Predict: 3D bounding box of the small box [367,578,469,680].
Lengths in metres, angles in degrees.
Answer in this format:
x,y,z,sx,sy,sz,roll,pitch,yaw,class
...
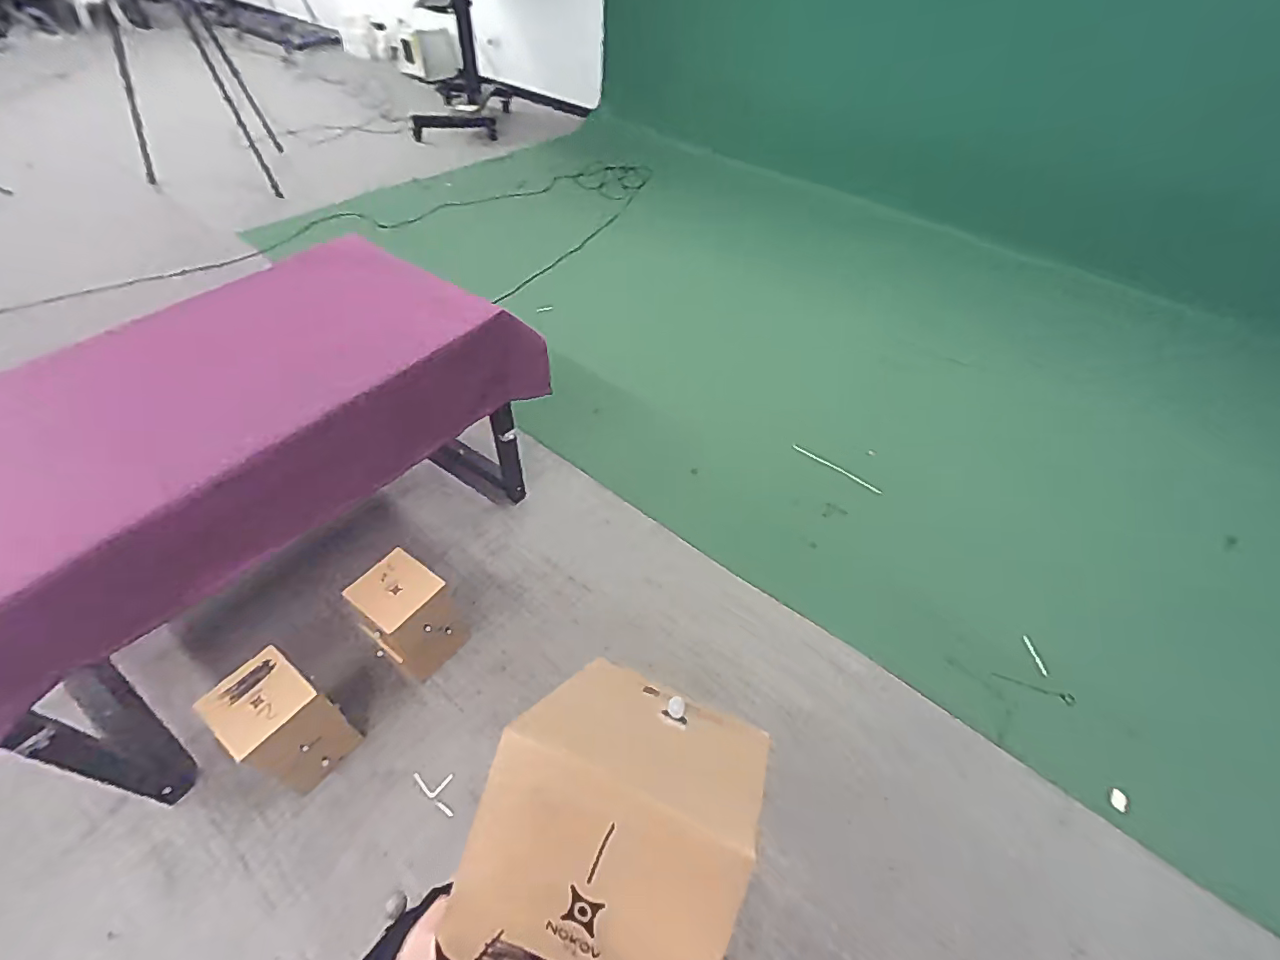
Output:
x,y,z,sx,sy,sz,roll,pitch,yaw,class
-0.596,0.411,1.475,0.168,0.176,0.179,31,54,21,small box
